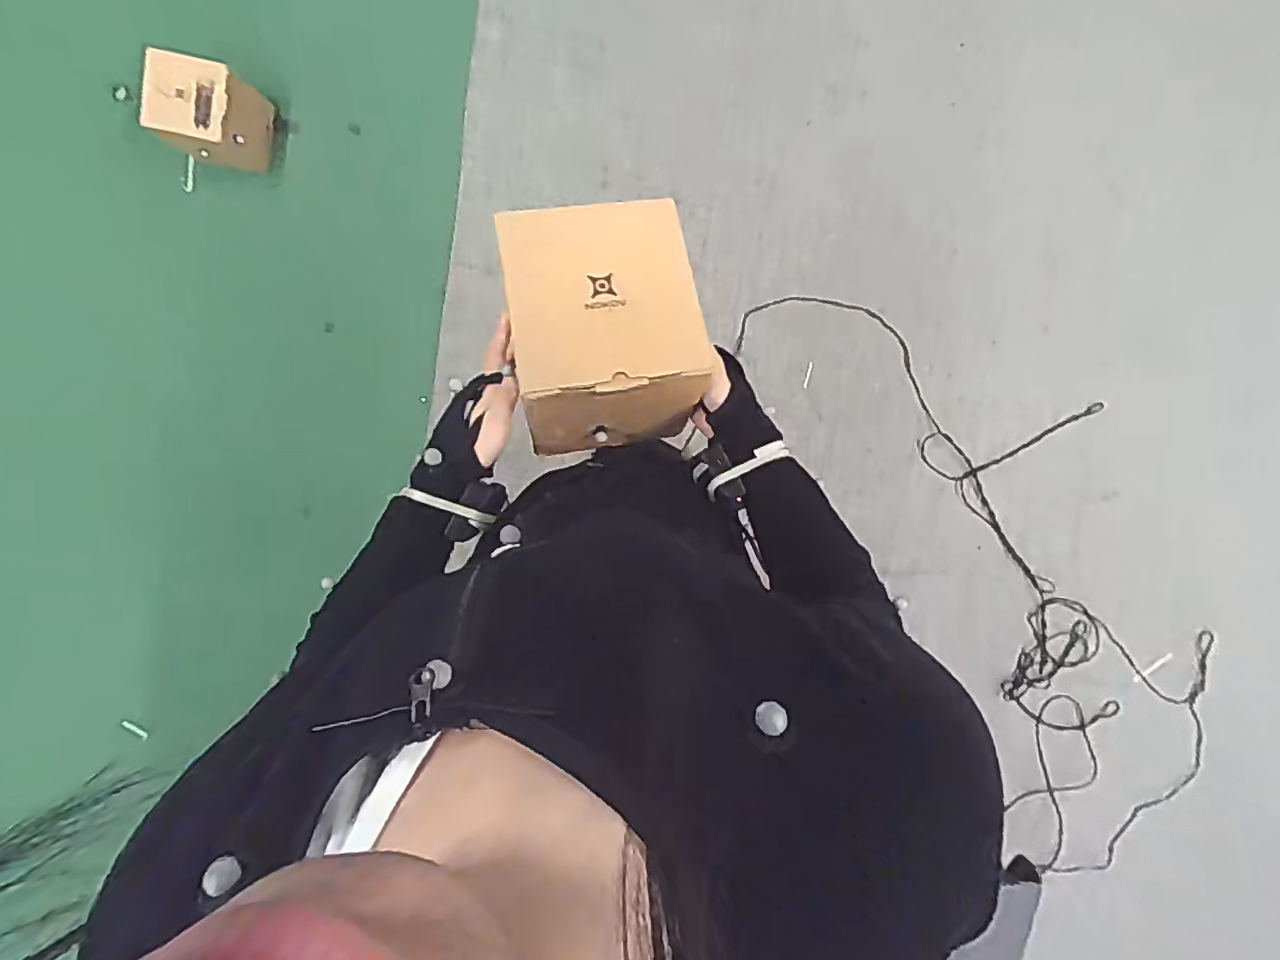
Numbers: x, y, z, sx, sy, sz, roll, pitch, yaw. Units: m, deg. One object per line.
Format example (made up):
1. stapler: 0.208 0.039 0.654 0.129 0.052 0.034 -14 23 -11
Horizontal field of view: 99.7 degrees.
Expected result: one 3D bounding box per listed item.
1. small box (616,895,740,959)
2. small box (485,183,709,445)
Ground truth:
1. small box: 0.052 0.742 0.761 0.168 0.176 0.179 10 97 -4
2. small box: -0.047 -0.152 0.532 0.168 0.176 0.179 -11 77 -9
